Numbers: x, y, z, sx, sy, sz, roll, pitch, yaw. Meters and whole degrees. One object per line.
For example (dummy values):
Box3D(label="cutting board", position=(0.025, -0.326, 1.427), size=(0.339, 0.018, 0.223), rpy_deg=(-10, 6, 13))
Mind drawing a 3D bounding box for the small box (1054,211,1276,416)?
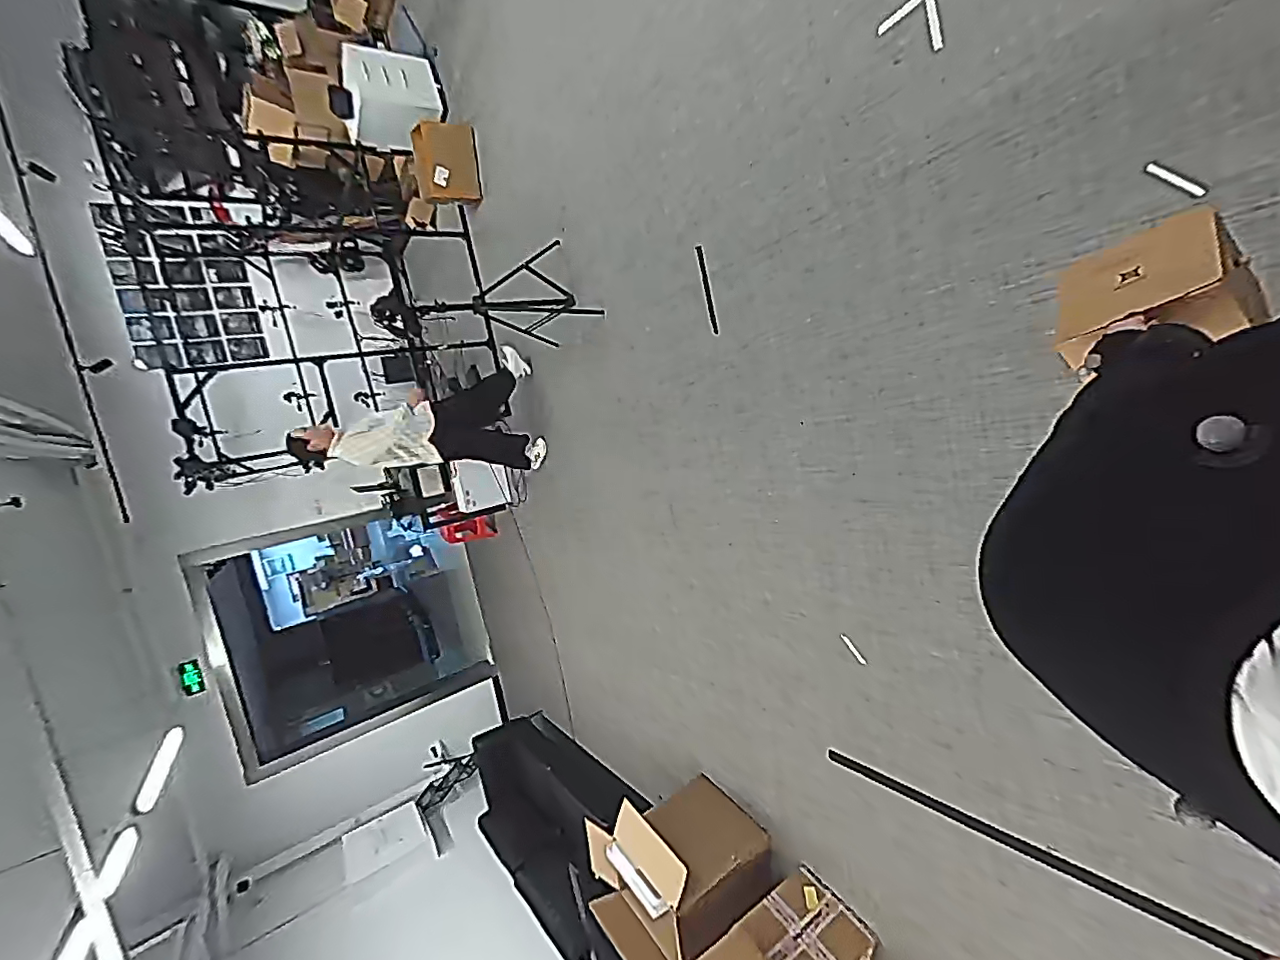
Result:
Box3D(label="small box", position=(0.697, -0.208, 0.726), size=(0.176, 0.179, 0.168), rpy_deg=(42, 149, -16))
